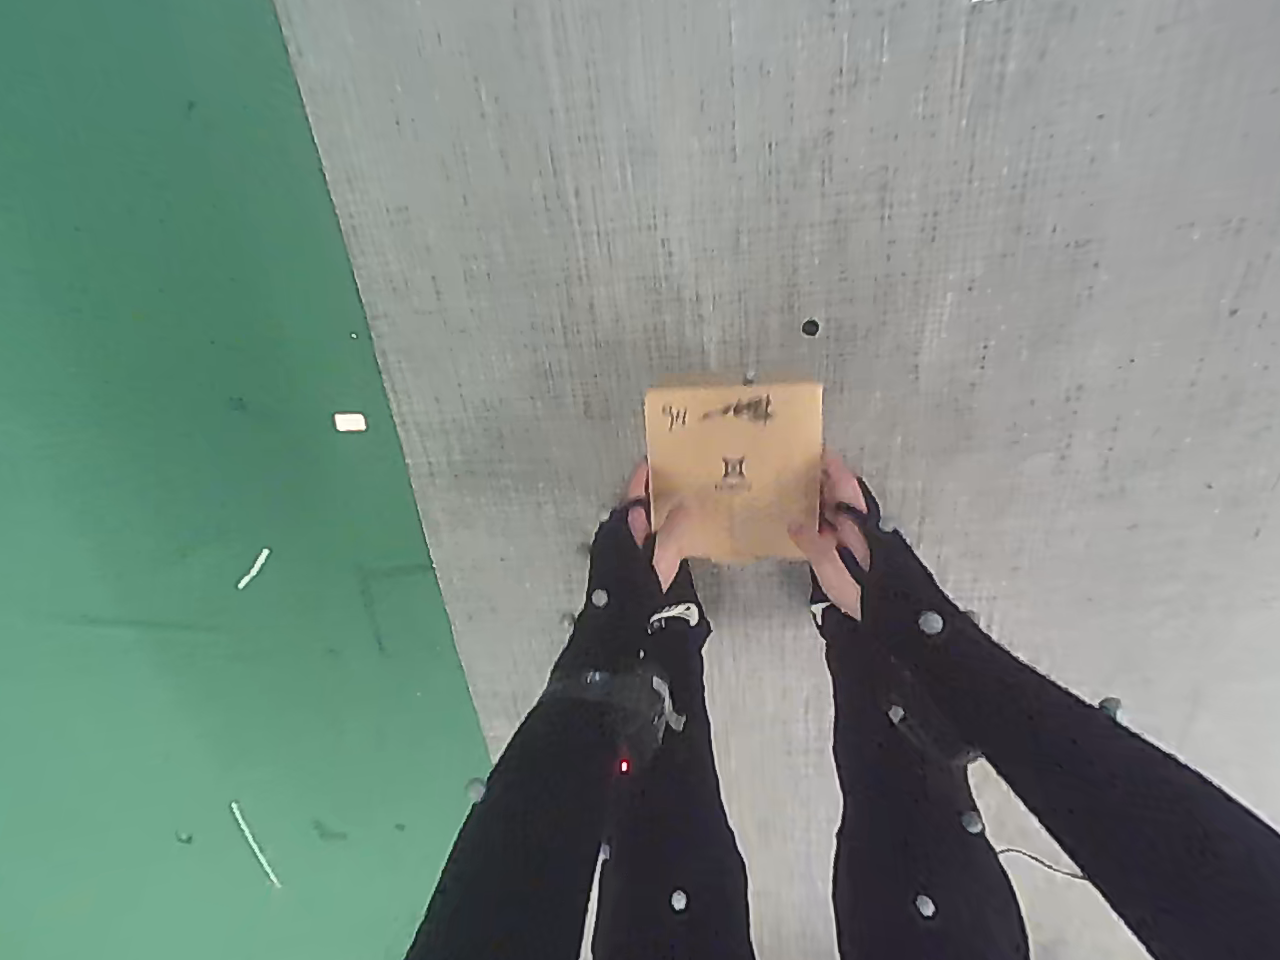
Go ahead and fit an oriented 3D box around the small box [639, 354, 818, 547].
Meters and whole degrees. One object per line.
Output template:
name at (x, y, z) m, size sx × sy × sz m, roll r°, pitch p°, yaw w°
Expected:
small box at (0.094, -0.041, 0.594) m, size 0.168 × 0.176 × 0.179 m, roll 0°, pitch 107°, yaw 8°
